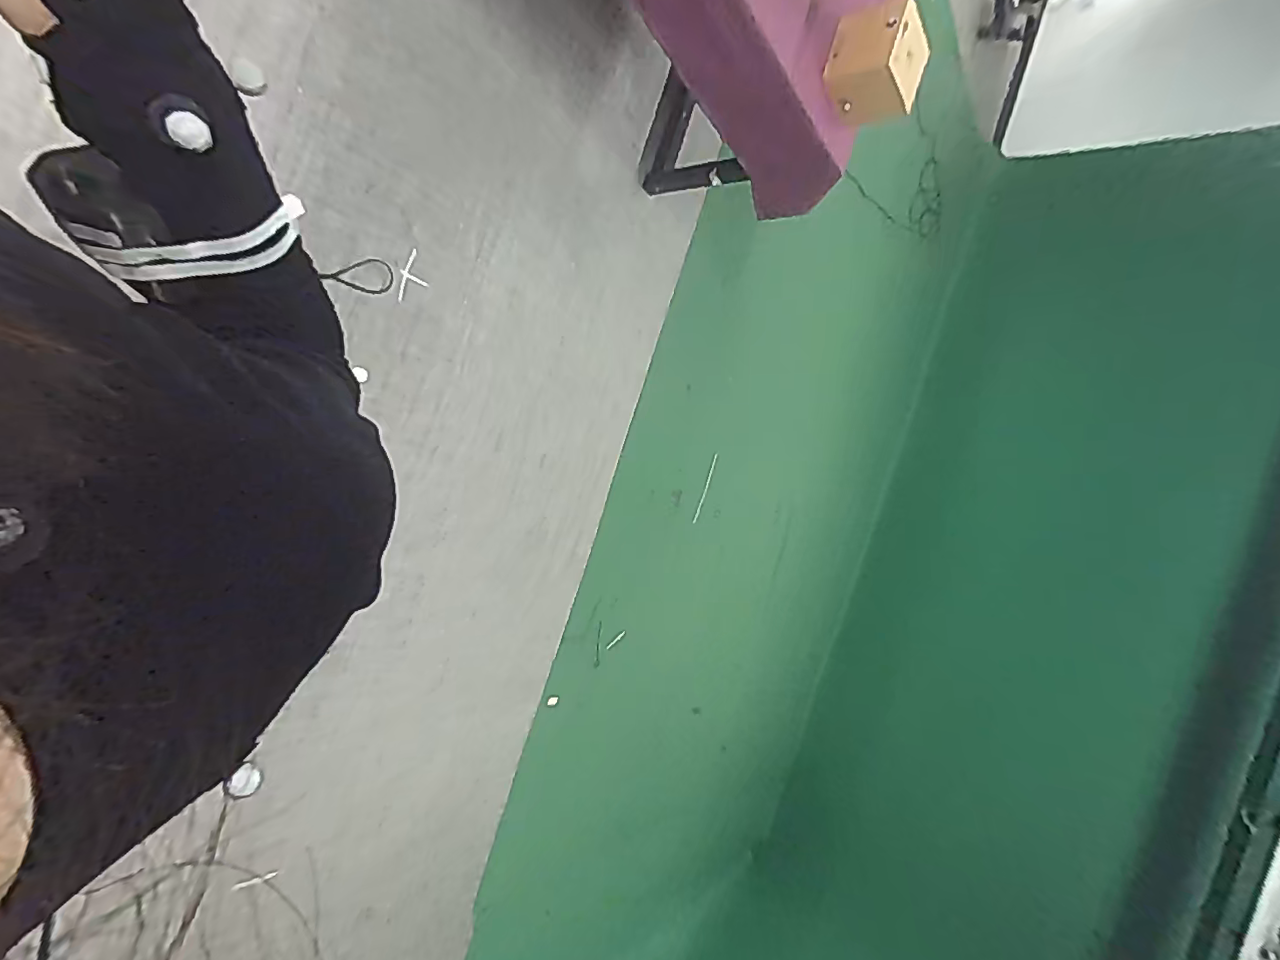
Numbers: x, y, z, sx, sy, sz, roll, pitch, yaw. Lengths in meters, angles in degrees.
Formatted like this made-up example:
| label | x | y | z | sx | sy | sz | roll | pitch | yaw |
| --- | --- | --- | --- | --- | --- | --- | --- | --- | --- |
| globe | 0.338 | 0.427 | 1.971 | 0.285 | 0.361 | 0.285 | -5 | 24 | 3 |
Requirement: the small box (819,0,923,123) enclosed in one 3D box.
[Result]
| label | x | y | z | sx | sy | sz | roll | pitch | yaw |
| --- | --- | --- | --- | --- | --- | --- | --- | --- | --- |
| small box | 0.569 | -1.018 | 1.333 | 0.179 | 0.176 | 0.168 | 17 | 91 | -49 |
